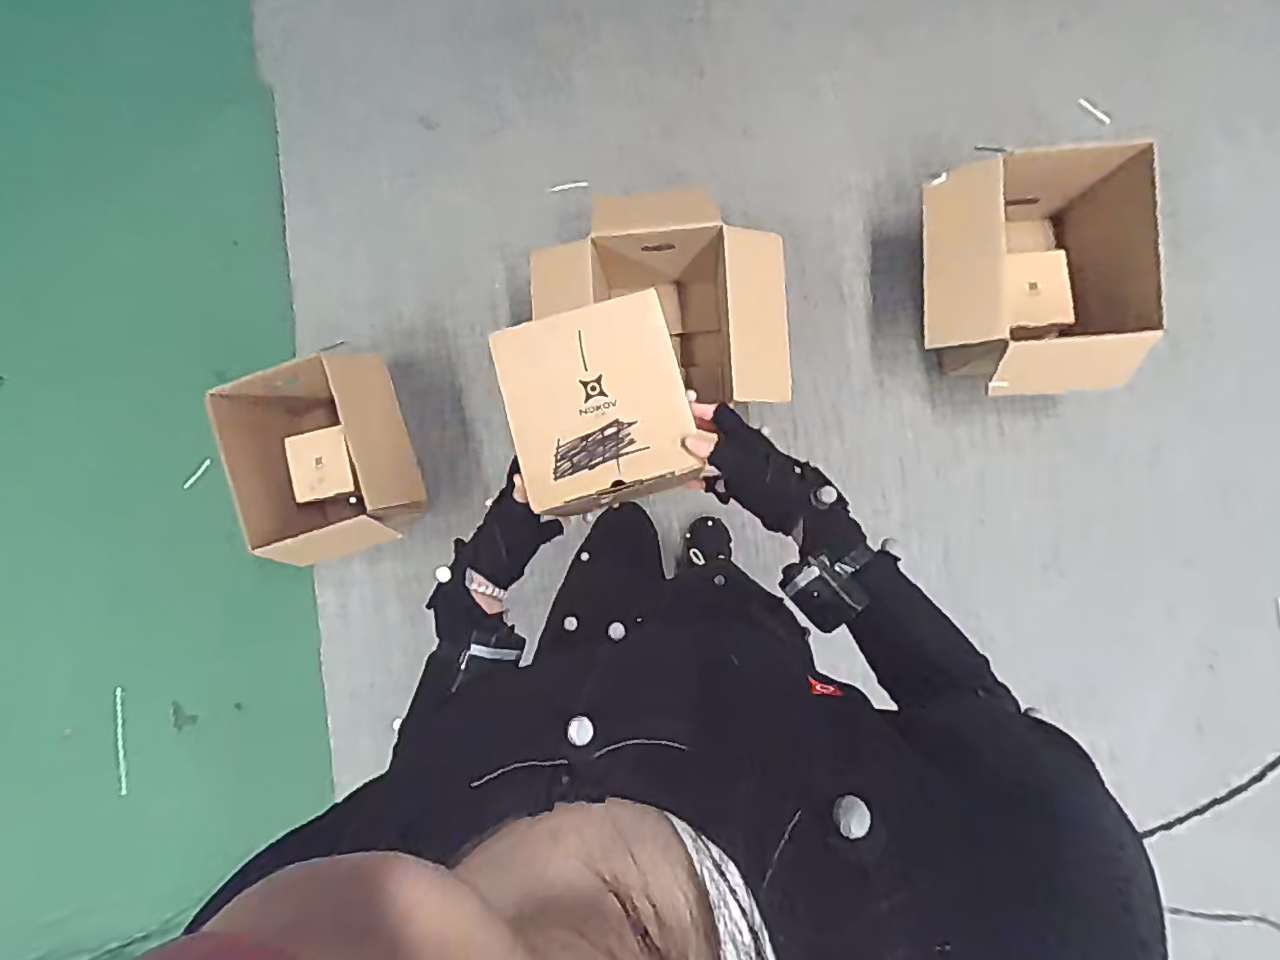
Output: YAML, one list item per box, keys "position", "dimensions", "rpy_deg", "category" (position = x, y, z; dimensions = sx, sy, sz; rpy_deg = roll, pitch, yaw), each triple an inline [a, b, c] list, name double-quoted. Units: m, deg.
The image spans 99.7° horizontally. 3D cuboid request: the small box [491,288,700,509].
- position: [-0.038, -0.070, 0.579]
  dimensions: [0.168, 0.176, 0.179]
  rpy_deg: [-15, 82, 1]
  category: "small box"
